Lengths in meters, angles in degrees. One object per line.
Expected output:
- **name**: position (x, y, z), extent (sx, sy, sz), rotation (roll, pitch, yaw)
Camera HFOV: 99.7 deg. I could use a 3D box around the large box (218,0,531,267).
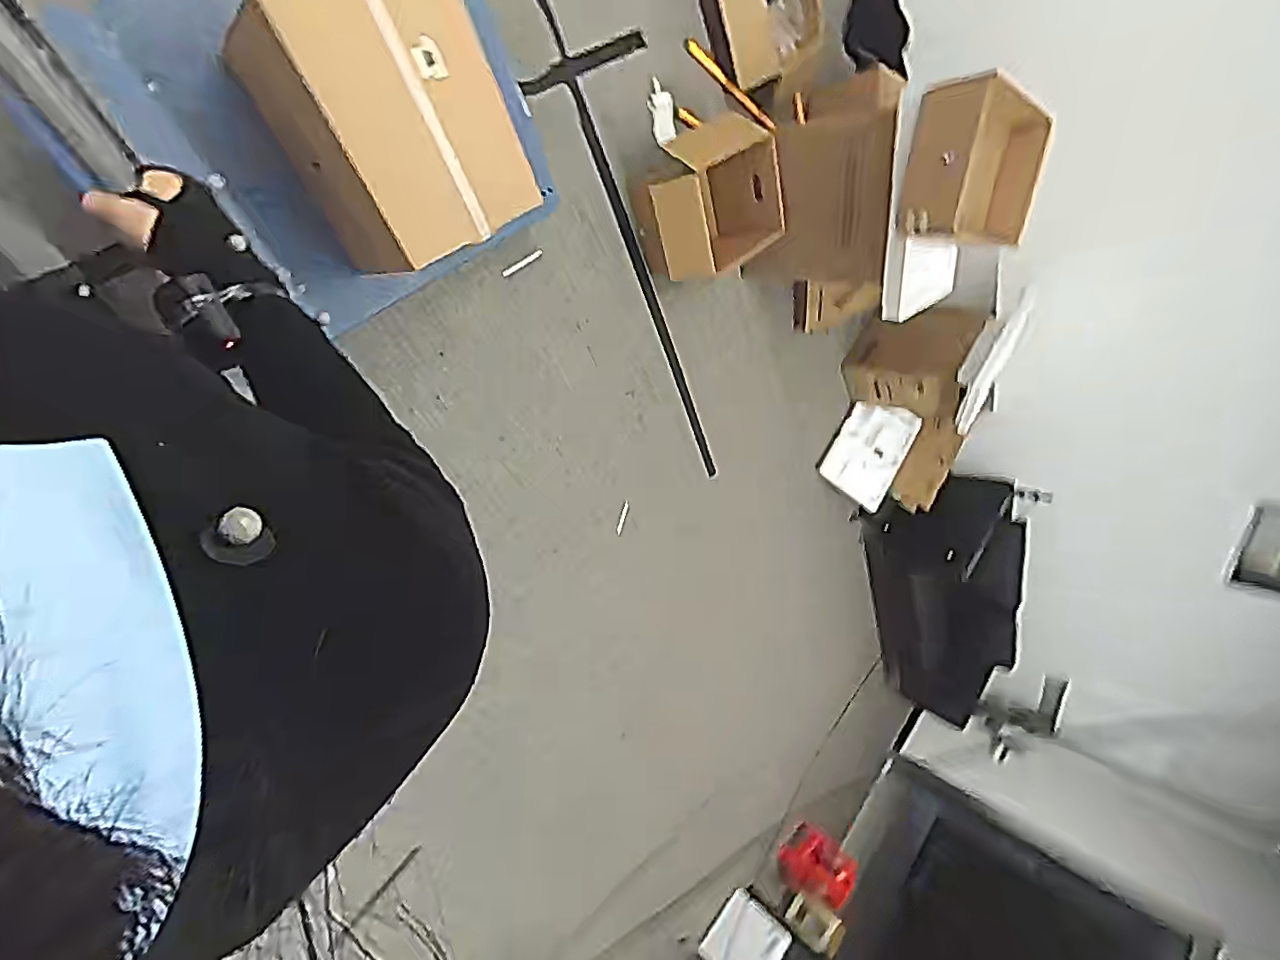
- **large box**: position (-0.485, -0.668, 1.026), extent (0.320, 0.320, 0.408), rotation (-43, 129, -26)
